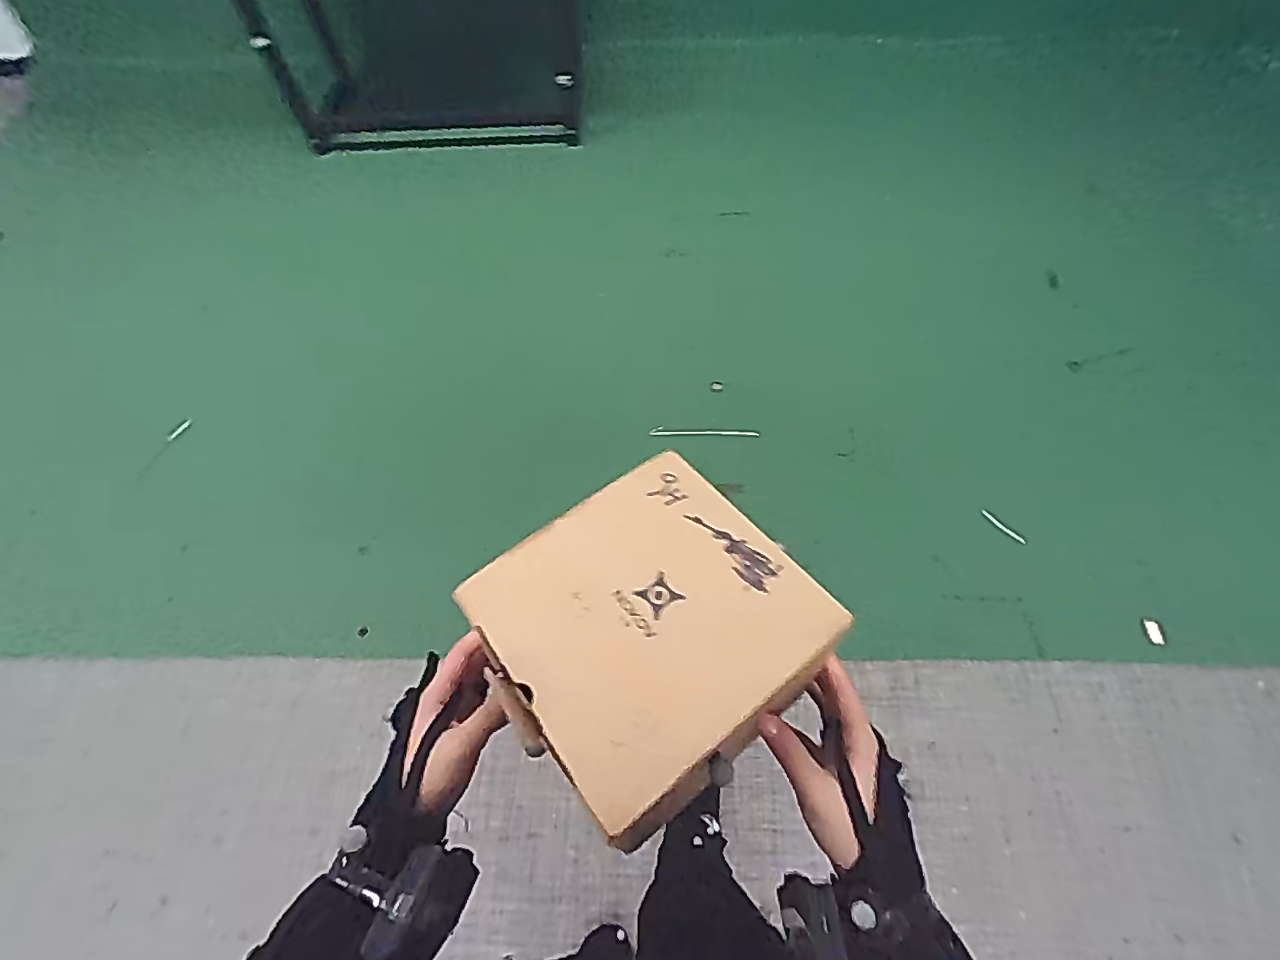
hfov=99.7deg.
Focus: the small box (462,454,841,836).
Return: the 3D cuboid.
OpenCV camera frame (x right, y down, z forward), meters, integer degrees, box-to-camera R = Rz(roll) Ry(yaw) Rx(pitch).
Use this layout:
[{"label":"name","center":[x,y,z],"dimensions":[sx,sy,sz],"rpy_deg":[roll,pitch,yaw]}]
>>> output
[{"label":"small box","center":[0.009,0.122,0.389],"dimensions":[0.179,0.176,0.168],"rpy_deg":[-34,59,-19]}]
